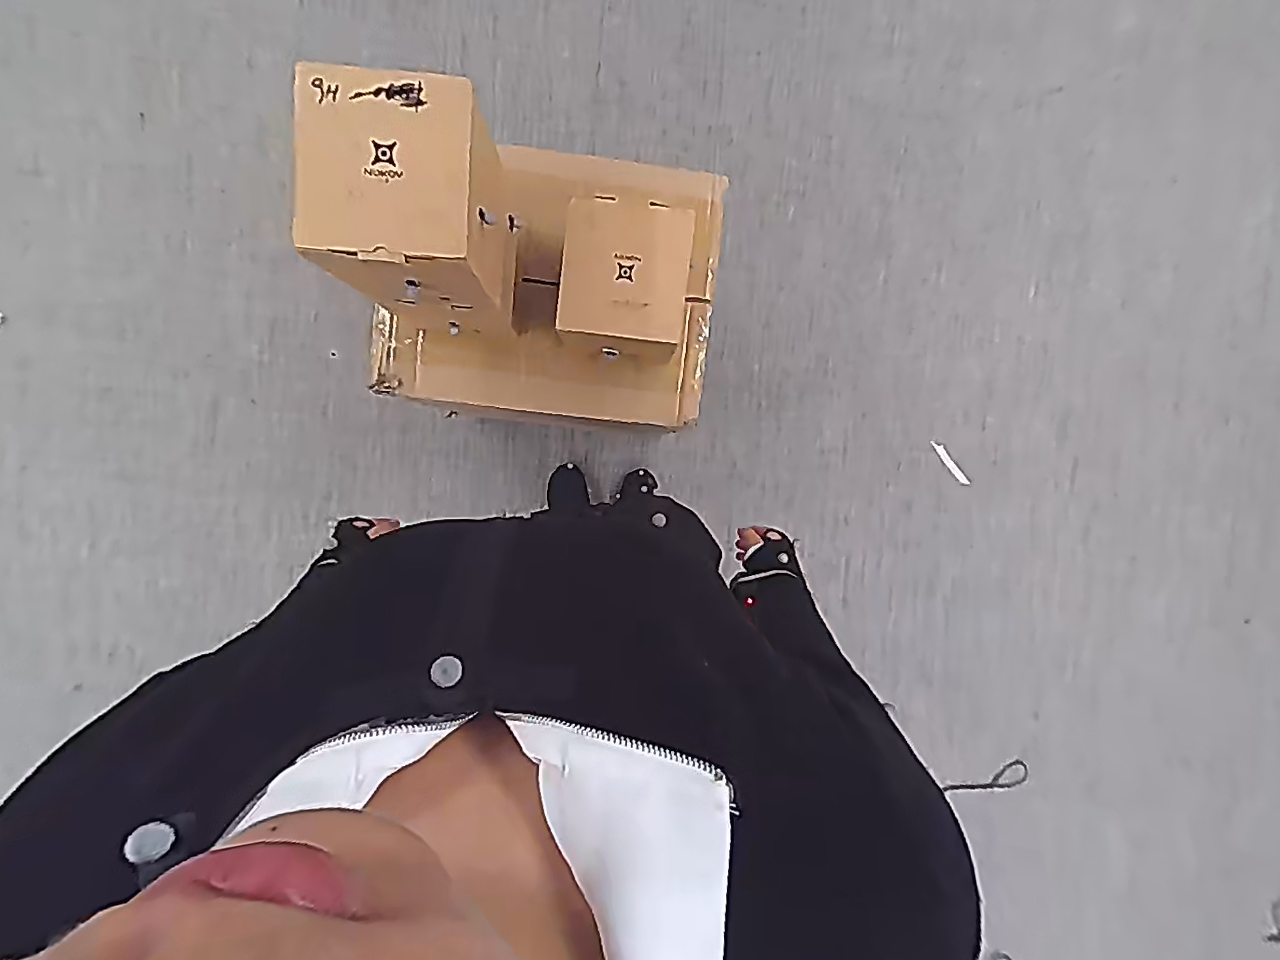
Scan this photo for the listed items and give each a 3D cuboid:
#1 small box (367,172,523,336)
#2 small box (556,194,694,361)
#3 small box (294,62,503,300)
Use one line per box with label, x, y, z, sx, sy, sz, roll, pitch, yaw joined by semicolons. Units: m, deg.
small box;-0.262;-0.316;0.763;0.168;0.176;0.179;4;93;-4
small box;-0.022;-0.279;0.780;0.168;0.176;0.179;6;94;-1
small box;-0.251;-0.309;0.599;0.168;0.176;0.179;3;94;-4
